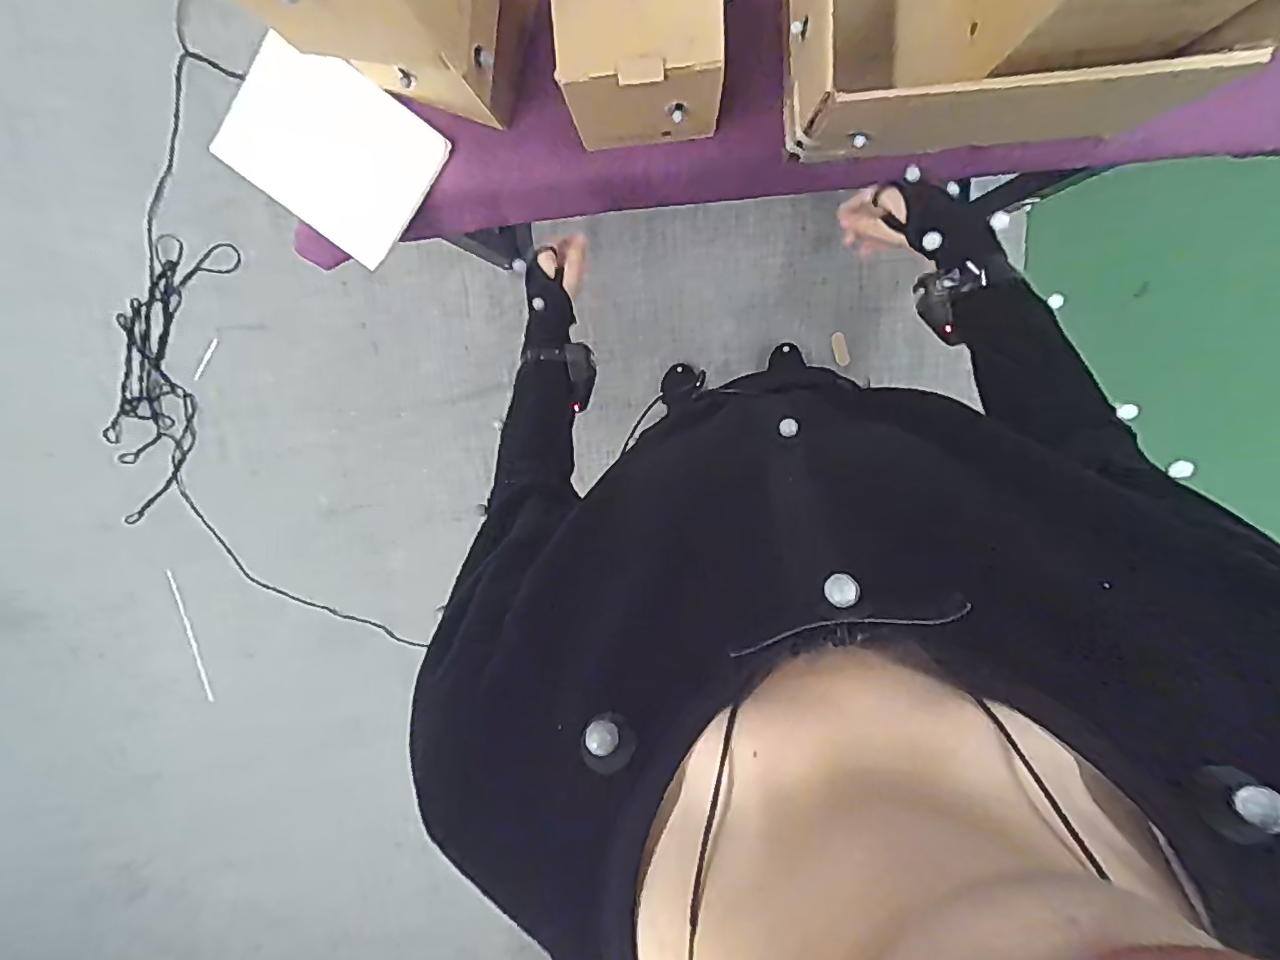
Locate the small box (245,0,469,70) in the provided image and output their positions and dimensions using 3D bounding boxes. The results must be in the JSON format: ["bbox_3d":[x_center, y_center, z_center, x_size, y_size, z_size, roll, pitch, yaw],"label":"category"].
[{"bbox_3d":[-0.246,-0.476,0.443,0.179,0.176,0.168,10,103,3],"label":"small box"}]

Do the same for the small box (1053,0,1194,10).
[{"bbox_3d":[0.413,-0.449,0.344,0.179,0.176,0.168,0,102,7],"label":"small box"}]
